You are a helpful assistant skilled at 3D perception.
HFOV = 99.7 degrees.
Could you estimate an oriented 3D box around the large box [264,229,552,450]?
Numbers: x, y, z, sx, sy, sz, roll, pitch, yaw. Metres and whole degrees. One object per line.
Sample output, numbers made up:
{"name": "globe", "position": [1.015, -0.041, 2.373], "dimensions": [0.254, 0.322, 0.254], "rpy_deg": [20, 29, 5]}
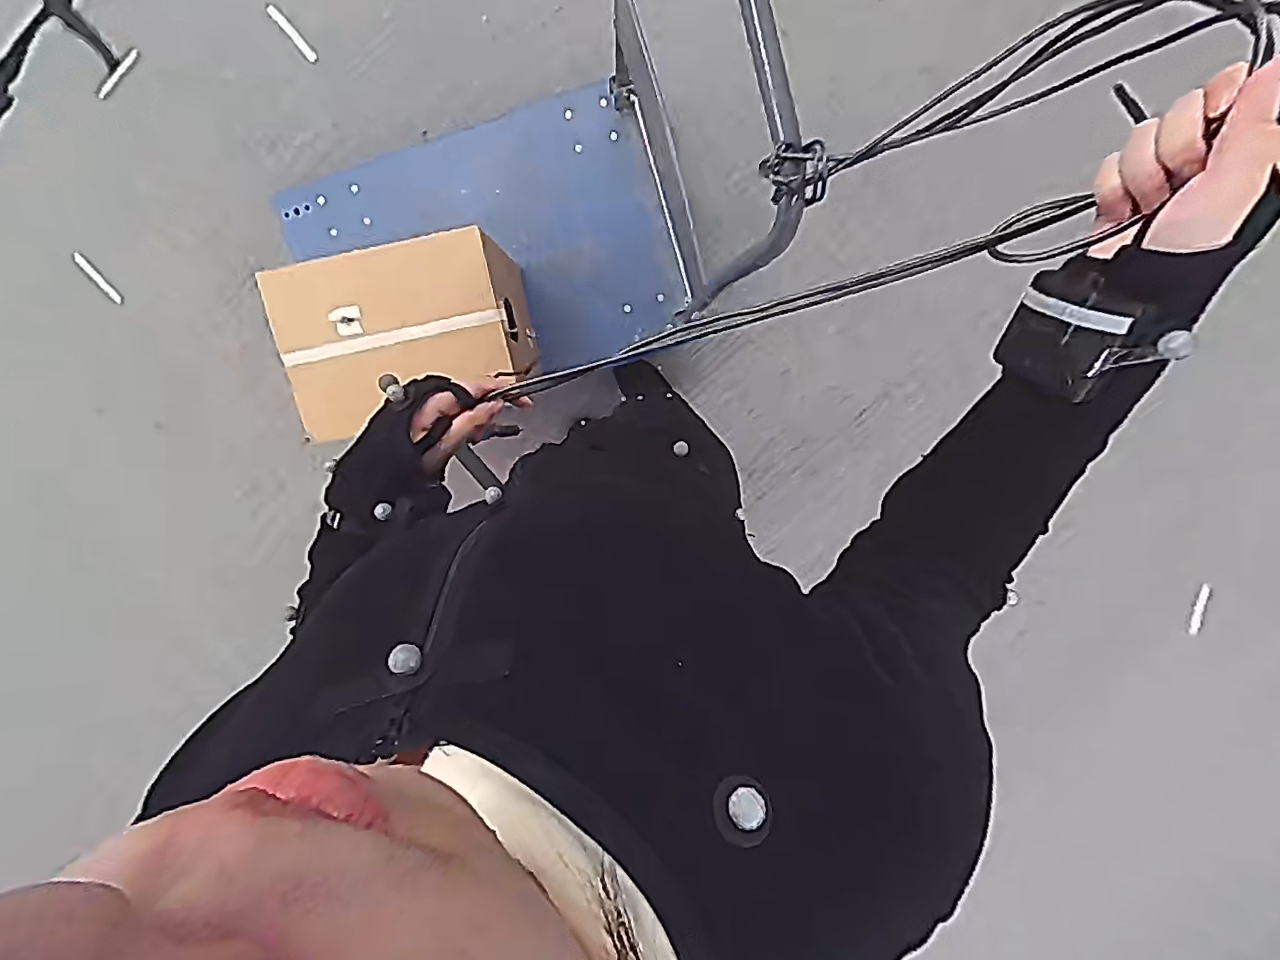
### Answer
{"name": "large box", "position": [-0.430, -0.271, 1.107], "dimensions": [0.408, 0.320, 0.320], "rpy_deg": [-12, 100, 3]}
